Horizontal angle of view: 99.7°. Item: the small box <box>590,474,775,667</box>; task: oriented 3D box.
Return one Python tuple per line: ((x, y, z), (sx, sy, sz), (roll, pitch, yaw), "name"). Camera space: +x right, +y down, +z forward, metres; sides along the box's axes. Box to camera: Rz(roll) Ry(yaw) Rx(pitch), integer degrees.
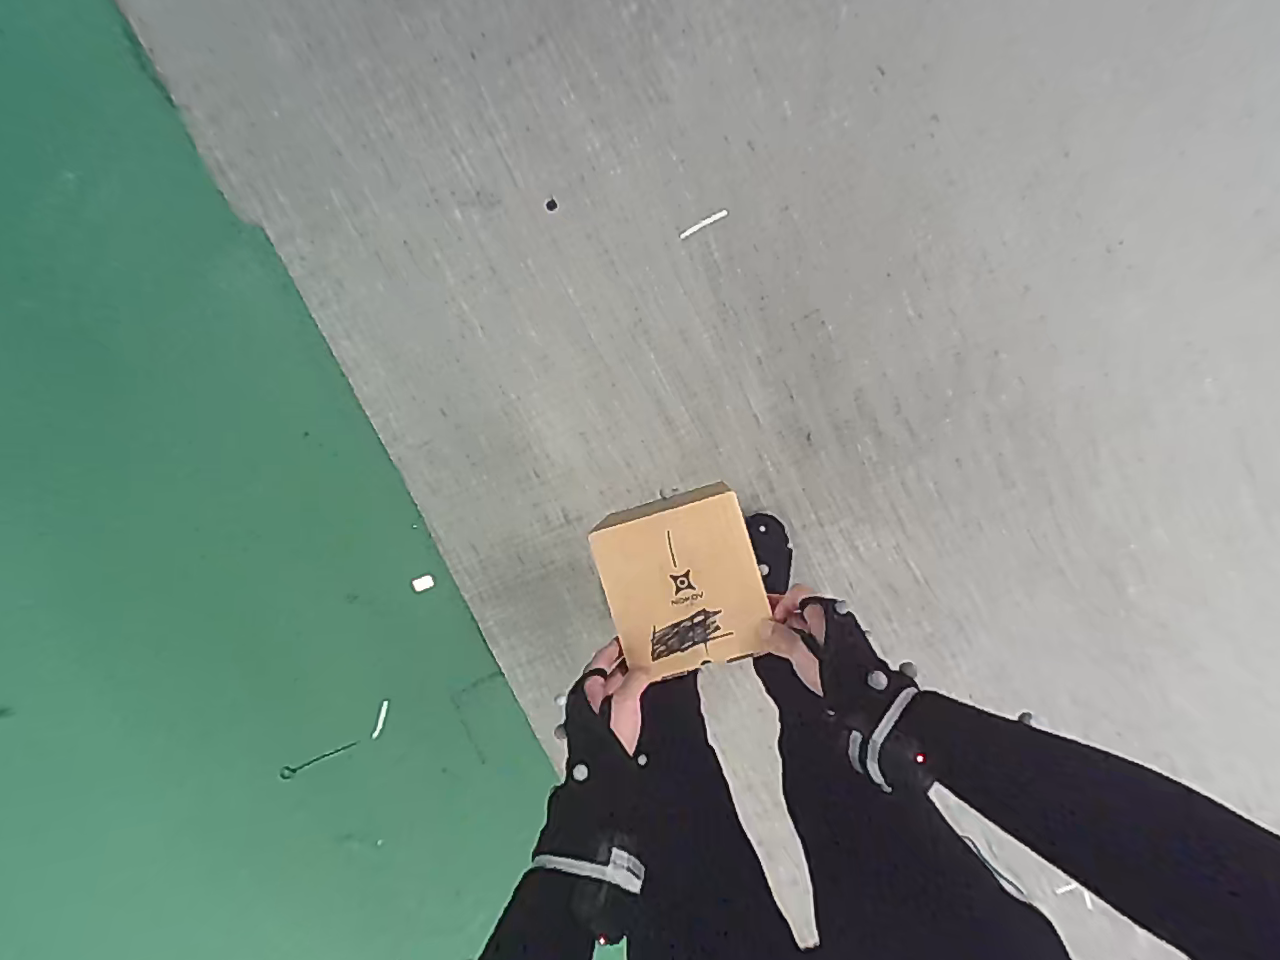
((0.053, 0.098, 0.660), (0.168, 0.176, 0.179), (-16, 91, 6), "small box")
